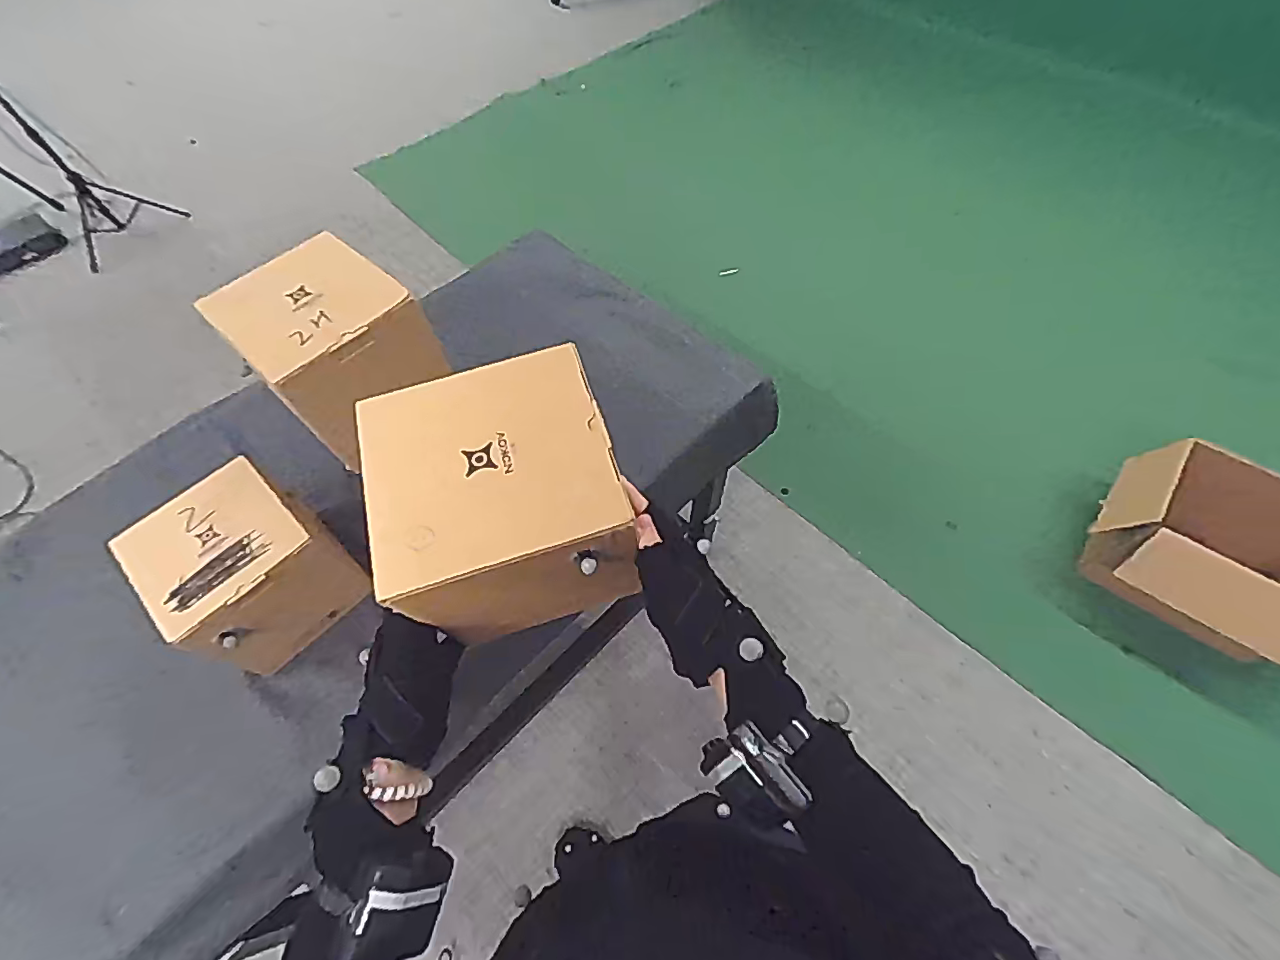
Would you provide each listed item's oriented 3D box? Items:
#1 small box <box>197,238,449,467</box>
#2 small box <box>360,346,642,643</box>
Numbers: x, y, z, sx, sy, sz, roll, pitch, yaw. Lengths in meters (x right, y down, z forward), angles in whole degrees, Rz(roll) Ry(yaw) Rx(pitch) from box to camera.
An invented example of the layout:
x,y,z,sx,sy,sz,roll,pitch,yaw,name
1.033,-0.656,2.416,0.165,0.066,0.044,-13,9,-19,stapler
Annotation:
x,y,z,sx,sy,sz,roll,pitch,yaw,name
-0.358,-0.145,0.647,0.179,0.176,0.168,37,68,20,small box
-0.105,0.022,0.458,0.179,0.176,0.168,-17,63,-6,small box
